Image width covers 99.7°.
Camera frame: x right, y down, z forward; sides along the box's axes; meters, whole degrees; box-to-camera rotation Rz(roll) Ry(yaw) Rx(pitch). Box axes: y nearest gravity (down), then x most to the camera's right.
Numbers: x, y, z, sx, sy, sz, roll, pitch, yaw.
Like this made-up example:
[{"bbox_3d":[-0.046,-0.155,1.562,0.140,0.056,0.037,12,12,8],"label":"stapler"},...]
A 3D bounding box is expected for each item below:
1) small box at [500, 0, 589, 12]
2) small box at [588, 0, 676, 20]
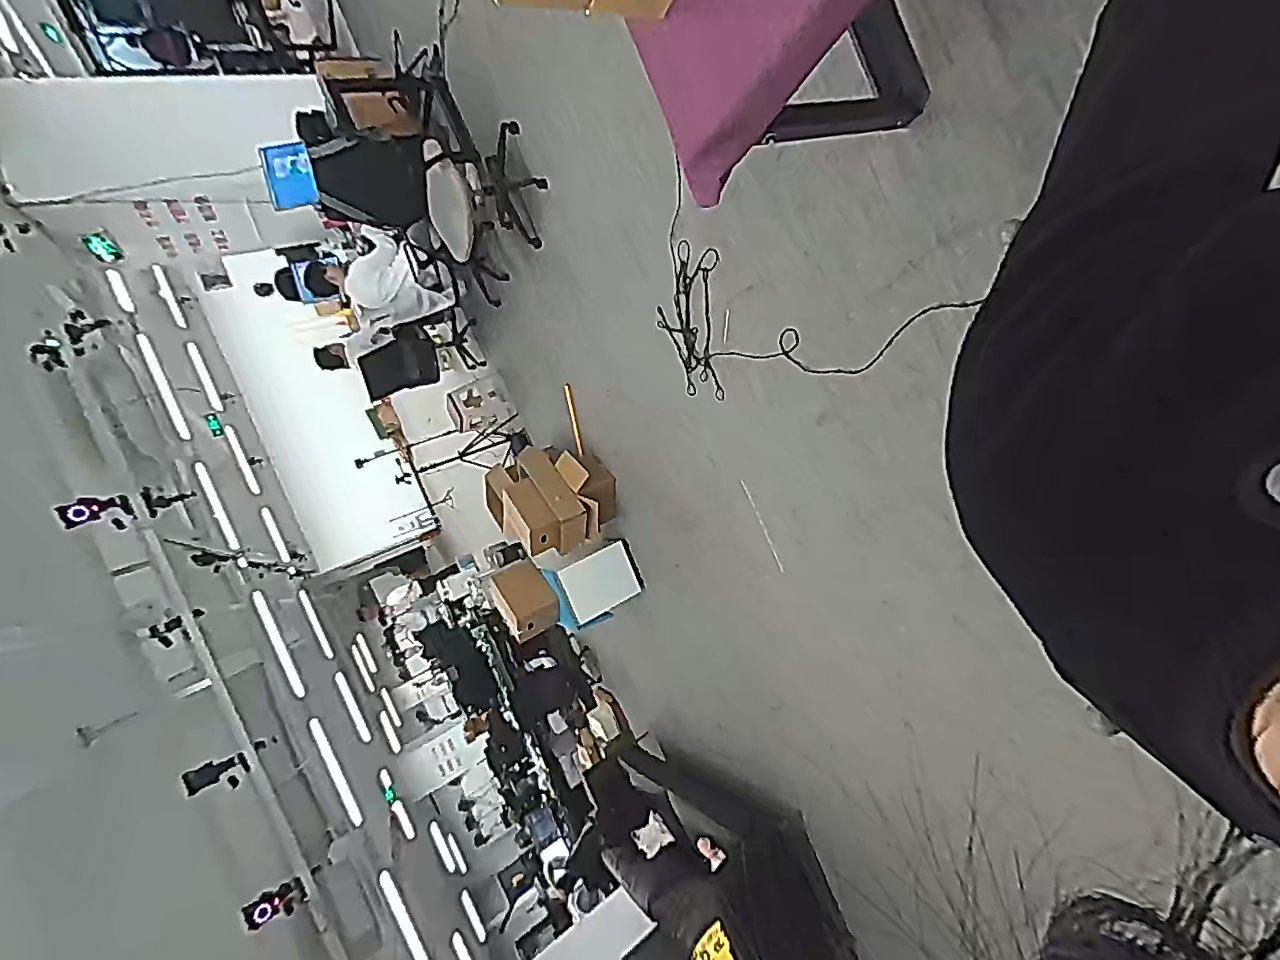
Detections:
[{"bbox_3d":[-0.145,-0.847,0.799,0.179,0.176,0.168,66,153,1],"label":"small box"},{"bbox_3d":[-0.006,-0.898,0.873,0.168,0.176,0.179,-15,98,63],"label":"small box"}]
